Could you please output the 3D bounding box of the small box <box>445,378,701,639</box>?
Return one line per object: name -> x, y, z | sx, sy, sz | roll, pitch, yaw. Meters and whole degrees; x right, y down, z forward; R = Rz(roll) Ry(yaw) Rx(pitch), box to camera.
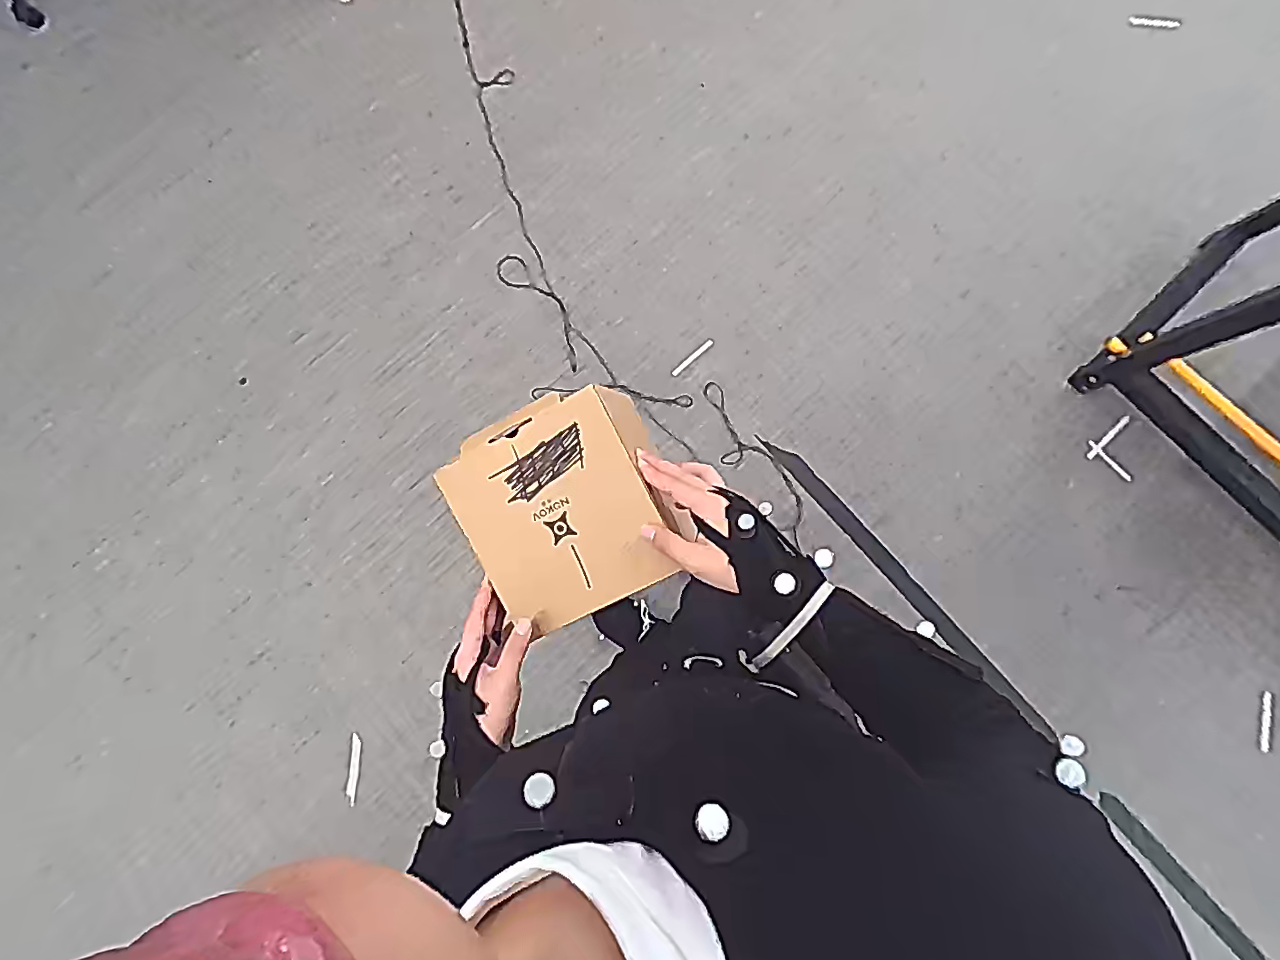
small box -> -0.050, 0.021, 0.532 | 0.168, 0.176, 0.179 | -27, 91, 10
